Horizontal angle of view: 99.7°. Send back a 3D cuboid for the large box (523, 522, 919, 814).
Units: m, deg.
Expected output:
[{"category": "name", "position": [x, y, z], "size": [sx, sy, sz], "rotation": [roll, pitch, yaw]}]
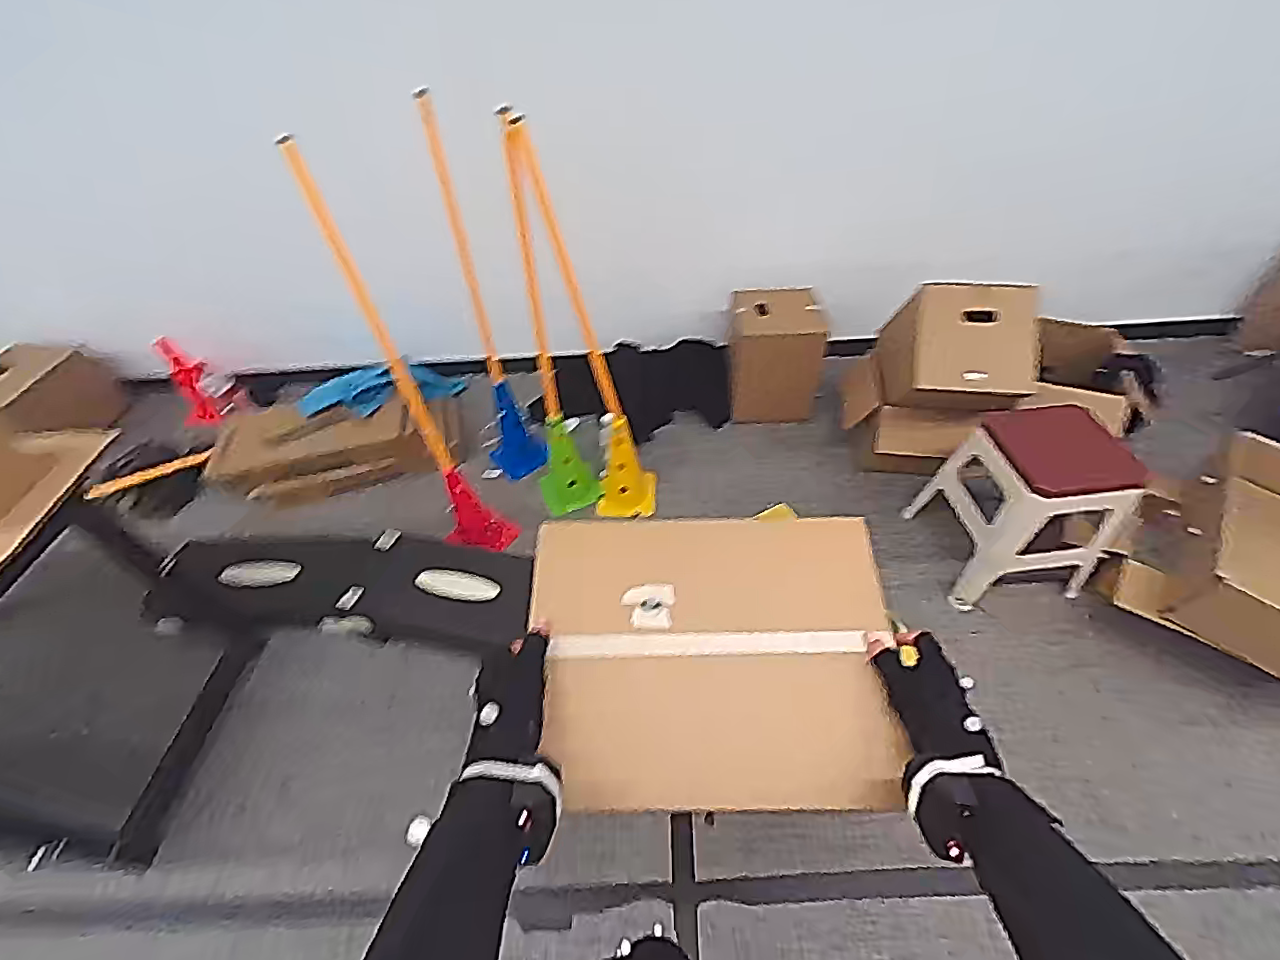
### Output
[{"category": "large box", "position": [0.085, 0.267, 0.740], "size": [0.408, 0.320, 0.320], "rotation": [-1, 59, 2]}]
